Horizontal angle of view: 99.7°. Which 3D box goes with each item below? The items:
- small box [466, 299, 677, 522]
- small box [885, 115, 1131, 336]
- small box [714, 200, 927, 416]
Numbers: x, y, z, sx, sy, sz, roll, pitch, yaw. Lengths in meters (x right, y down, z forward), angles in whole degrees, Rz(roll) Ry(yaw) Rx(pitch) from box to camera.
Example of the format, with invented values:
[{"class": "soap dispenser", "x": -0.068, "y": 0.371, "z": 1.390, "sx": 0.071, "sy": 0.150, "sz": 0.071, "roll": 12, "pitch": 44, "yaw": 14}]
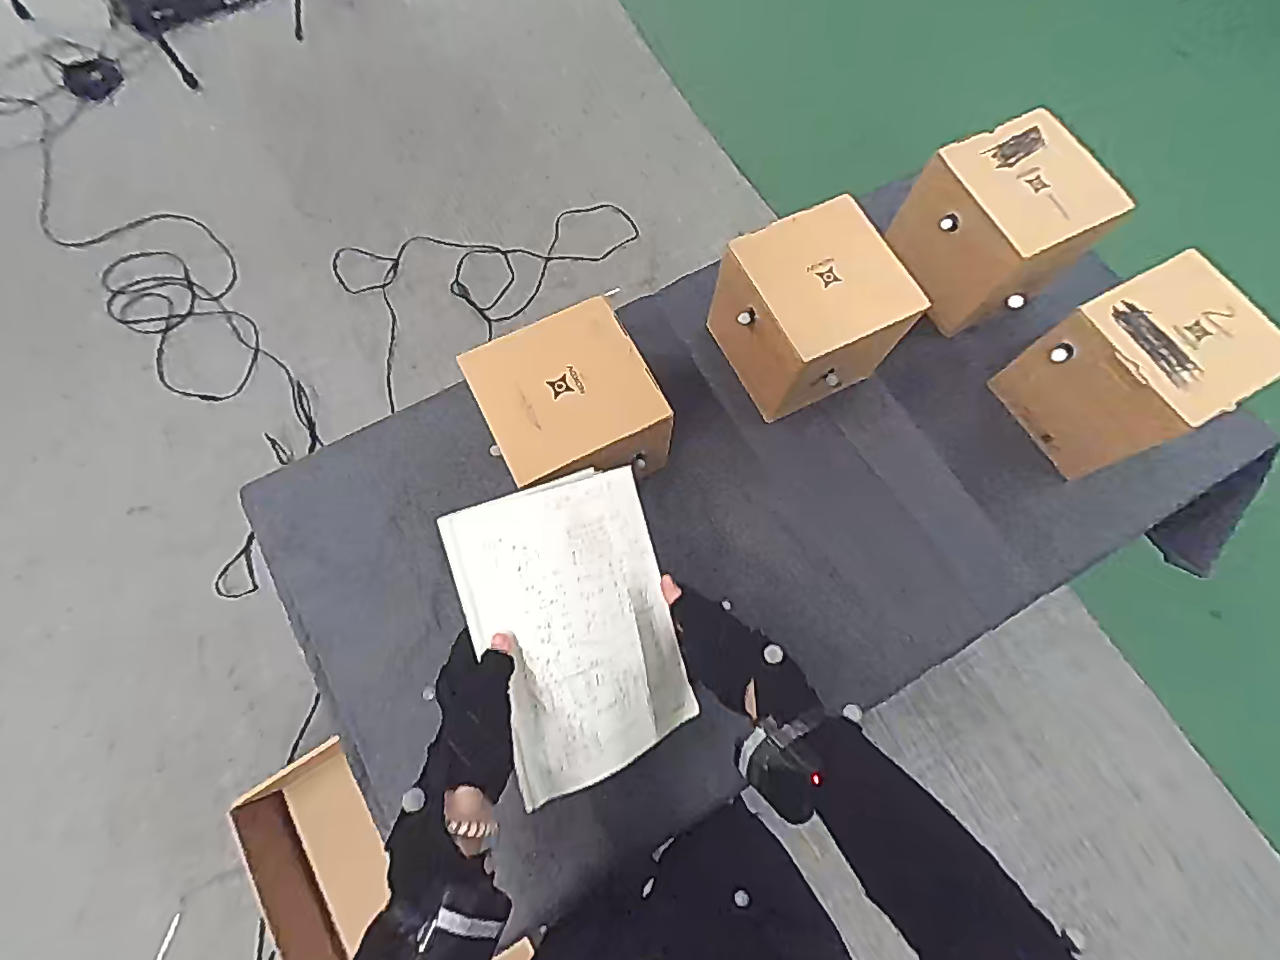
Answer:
[{"class": "small box", "x": -0.075, "y": -0.072, "z": 0.637, "sx": 0.179, "sy": 0.176, "sz": 0.168, "roll": -26, "pitch": 73, "yaw": -9}, {"class": "small box", "x": 0.467, "y": -0.329, "z": 0.722, "sx": 0.168, "sy": 0.176, "sz": 0.179, "roll": -25, "pitch": 74, "yaw": -7}, {"class": "small box", "x": 0.210, "y": -0.201, "z": 0.684, "sx": 0.168, "sy": 0.176, "sz": 0.179, "roll": -25, "pitch": 73, "yaw": -8}]
